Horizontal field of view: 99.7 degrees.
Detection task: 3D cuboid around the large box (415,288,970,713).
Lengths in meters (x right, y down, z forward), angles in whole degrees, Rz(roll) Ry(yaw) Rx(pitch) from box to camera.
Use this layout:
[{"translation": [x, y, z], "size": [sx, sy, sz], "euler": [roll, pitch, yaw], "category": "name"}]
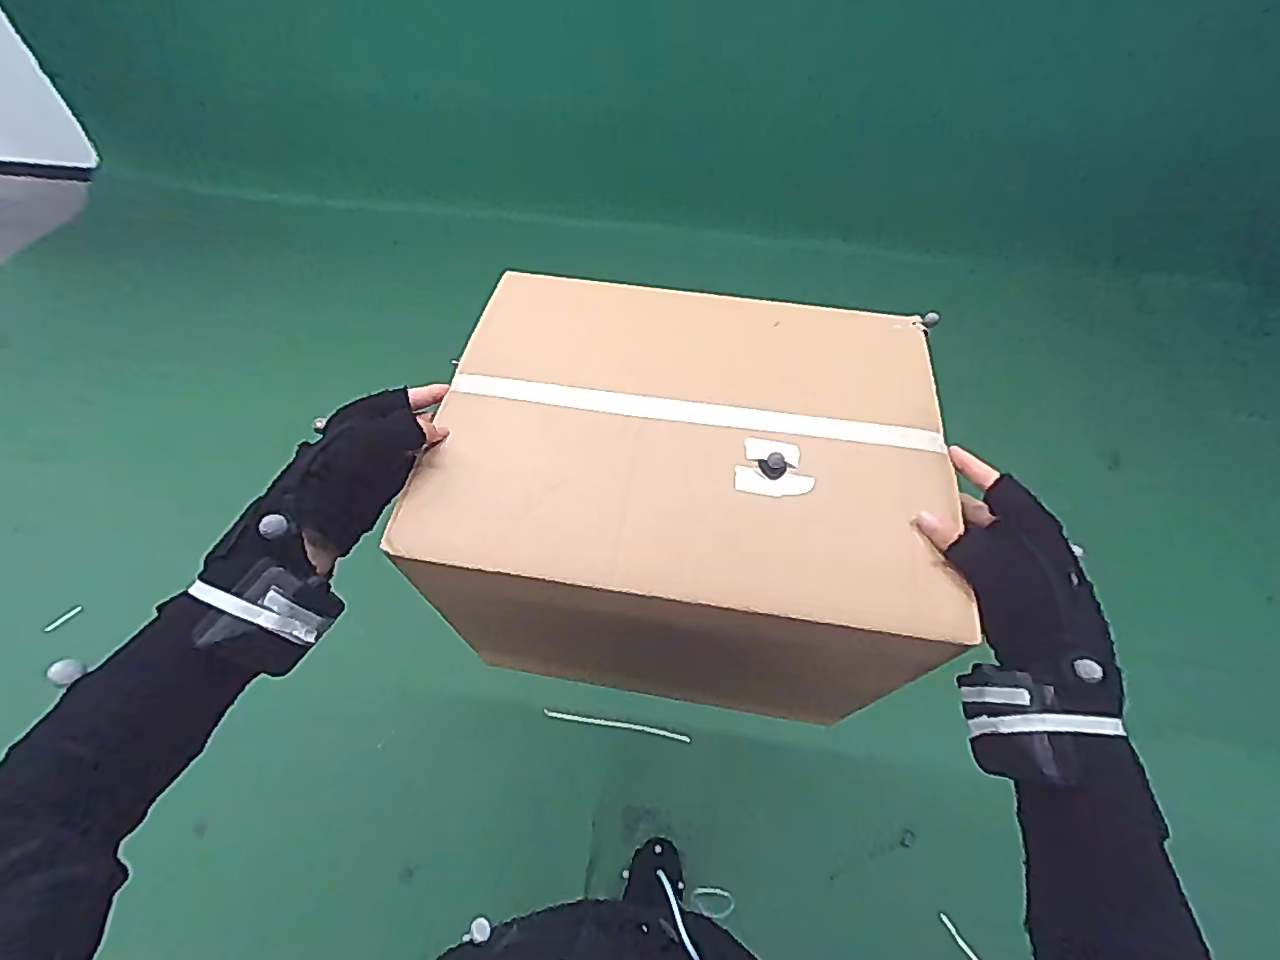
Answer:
[{"translation": [0.046, 0.035, 0.583], "size": [0.408, 0.320, 0.320], "euler": [8, 58, 3], "category": "large box"}]
